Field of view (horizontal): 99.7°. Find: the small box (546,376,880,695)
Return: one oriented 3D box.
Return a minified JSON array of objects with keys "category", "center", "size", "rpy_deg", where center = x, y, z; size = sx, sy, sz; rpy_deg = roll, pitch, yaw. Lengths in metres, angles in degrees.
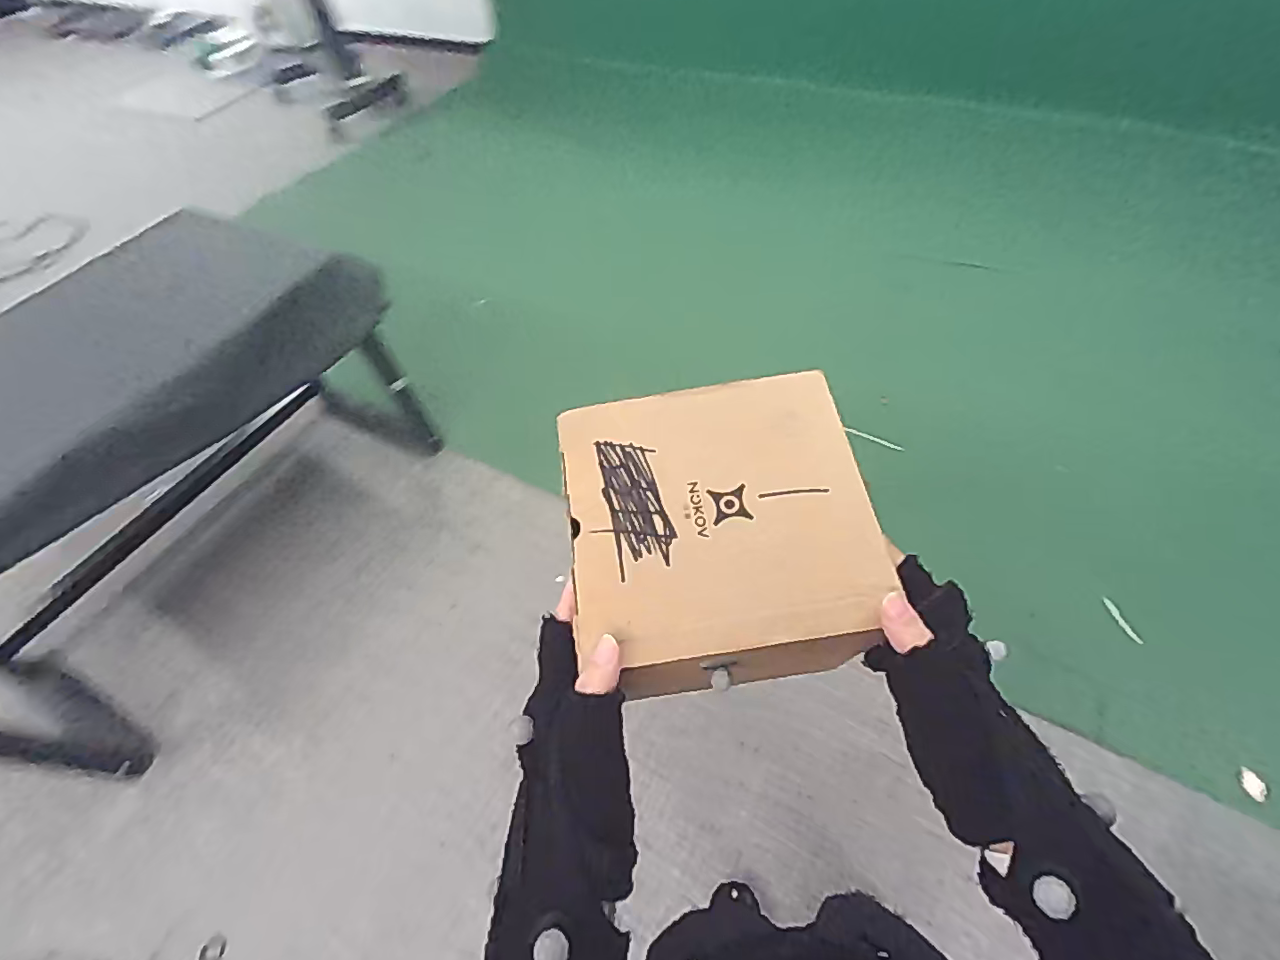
[{"category":"small box","center":[0.040,0.052,0.396],"size":[0.179,0.176,0.168],"rpy_deg":[-10,62,0]}]
